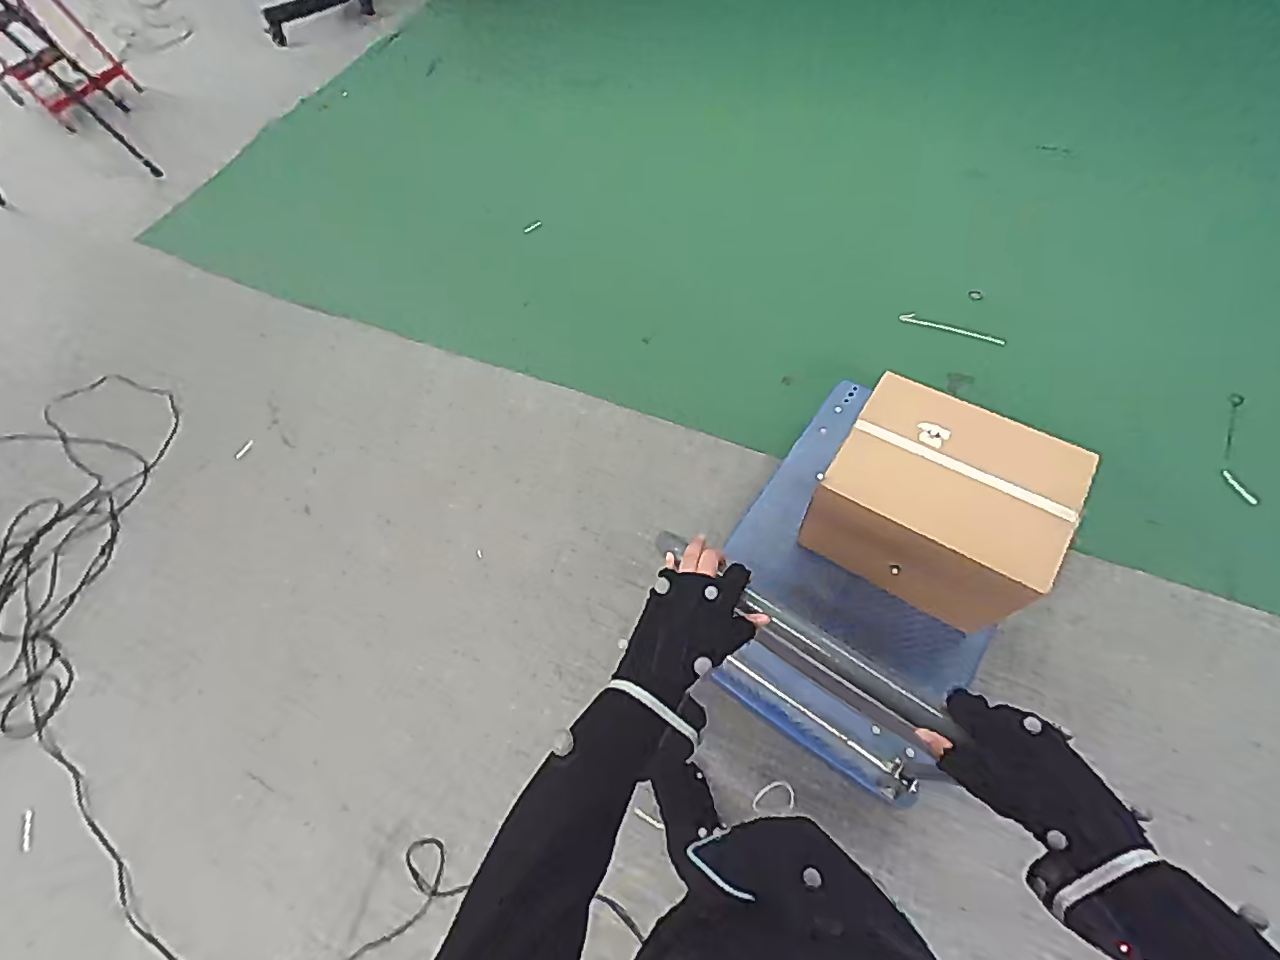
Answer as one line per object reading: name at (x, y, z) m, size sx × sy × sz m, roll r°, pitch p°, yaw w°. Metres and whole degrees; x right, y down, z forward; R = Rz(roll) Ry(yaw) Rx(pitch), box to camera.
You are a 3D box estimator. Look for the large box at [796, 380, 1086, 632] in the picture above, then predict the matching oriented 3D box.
large box at (0.594, 0.060, 1.138) m, size 0.408 × 0.320 × 0.320 m, roll 29°, pitch 69°, yaw 22°
